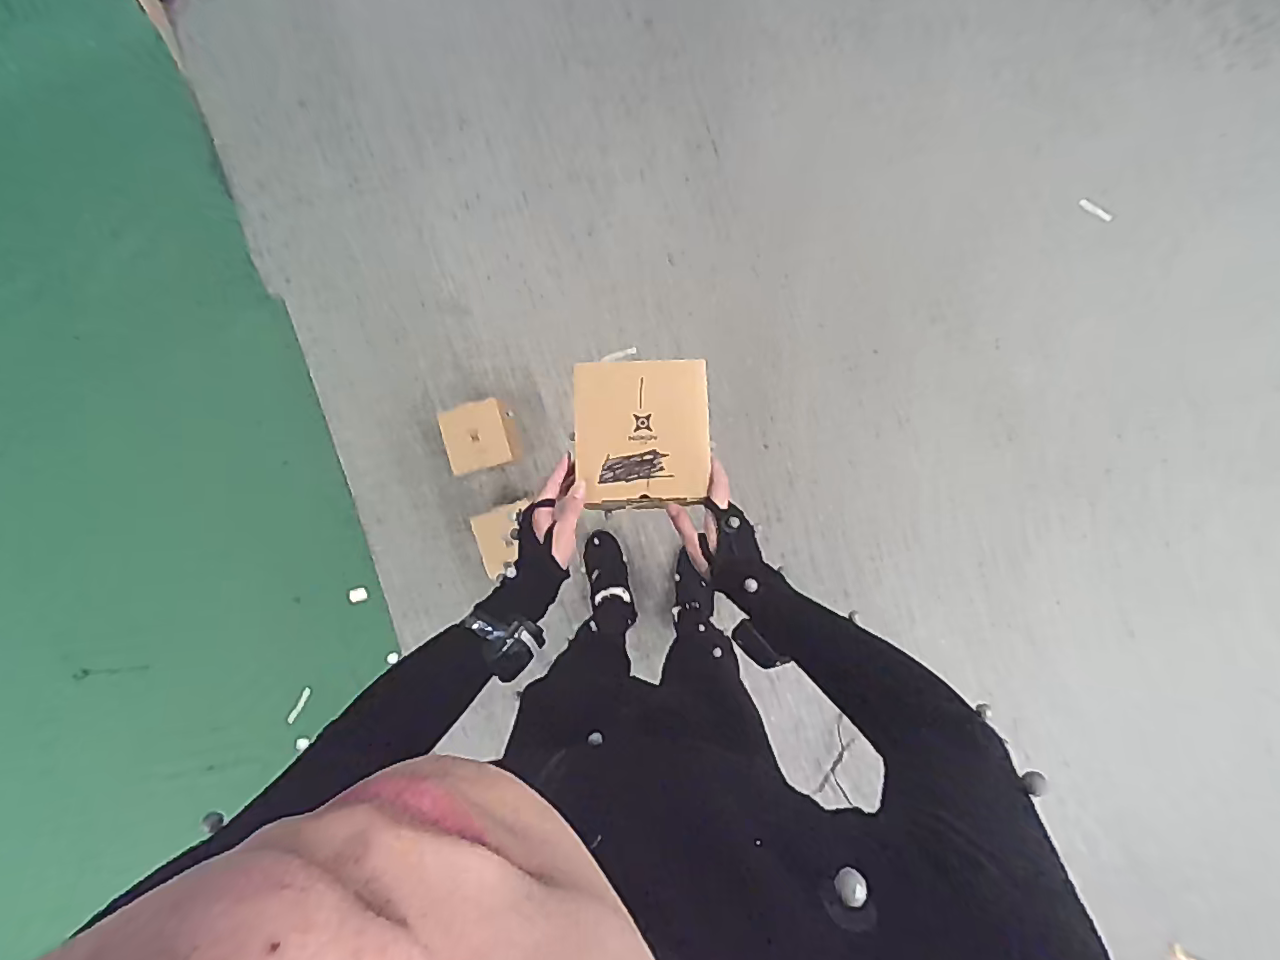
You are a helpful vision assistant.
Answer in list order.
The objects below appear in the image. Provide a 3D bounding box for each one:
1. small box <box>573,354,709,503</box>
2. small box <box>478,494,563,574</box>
[{"bbox_3d":[0.002,-0.058,0.728,0.168,0.176,0.179,-1,84,0],"label":"small box"},{"bbox_3d":[-0.327,0.145,1.506,0.168,0.176,0.179,-18,89,2],"label":"small box"}]
